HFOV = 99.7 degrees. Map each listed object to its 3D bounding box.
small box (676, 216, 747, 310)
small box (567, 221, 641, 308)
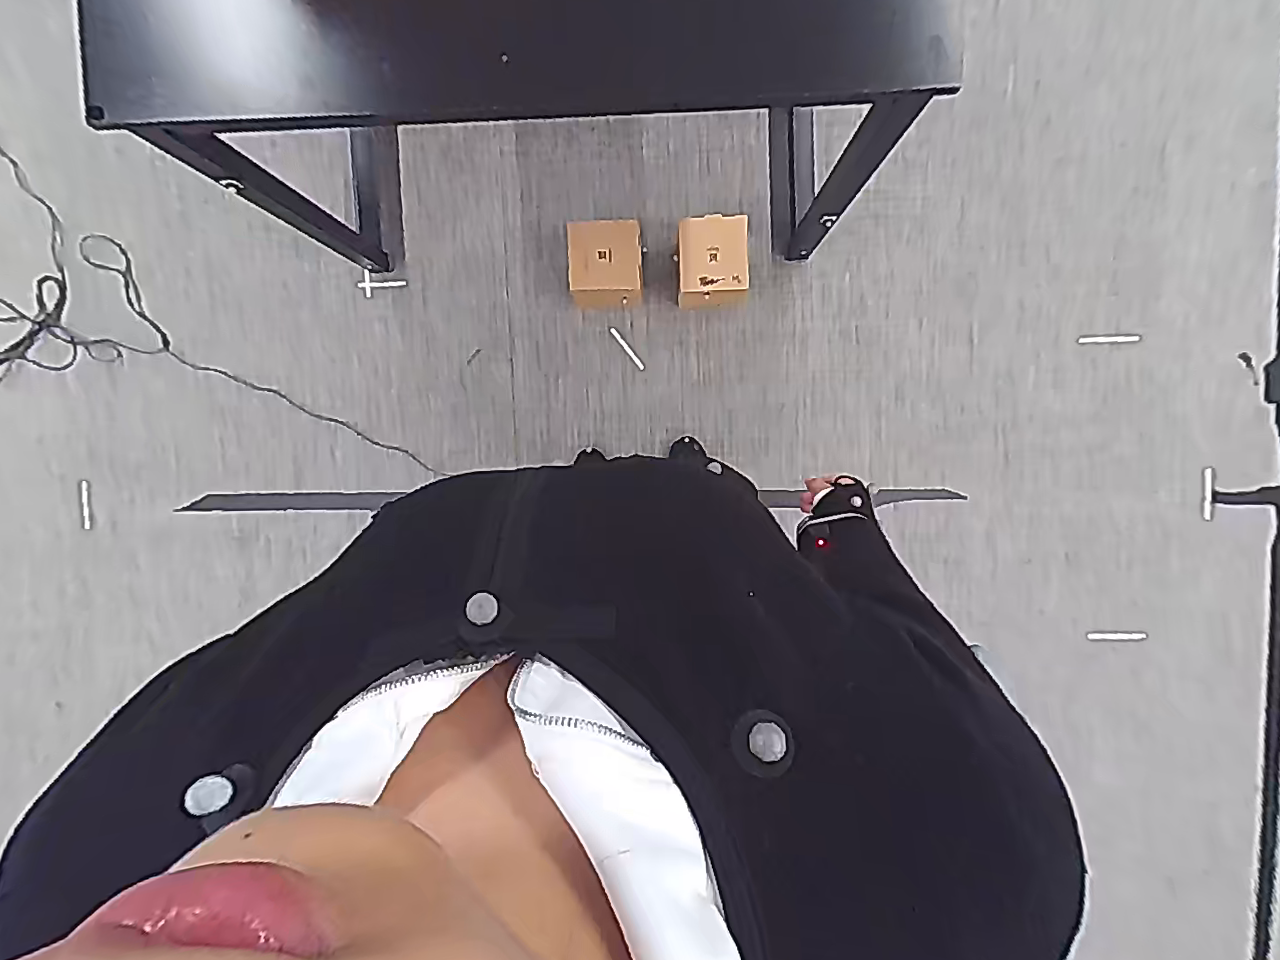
[{"bbox_3d":[0.177,-0.545,1.372,0.168,0.176,0.179,-2,93,3],"label":"small box"},{"bbox_3d":[-0.086,-0.545,1.385,0.179,0.176,0.168,-1,93,3],"label":"small box"}]
